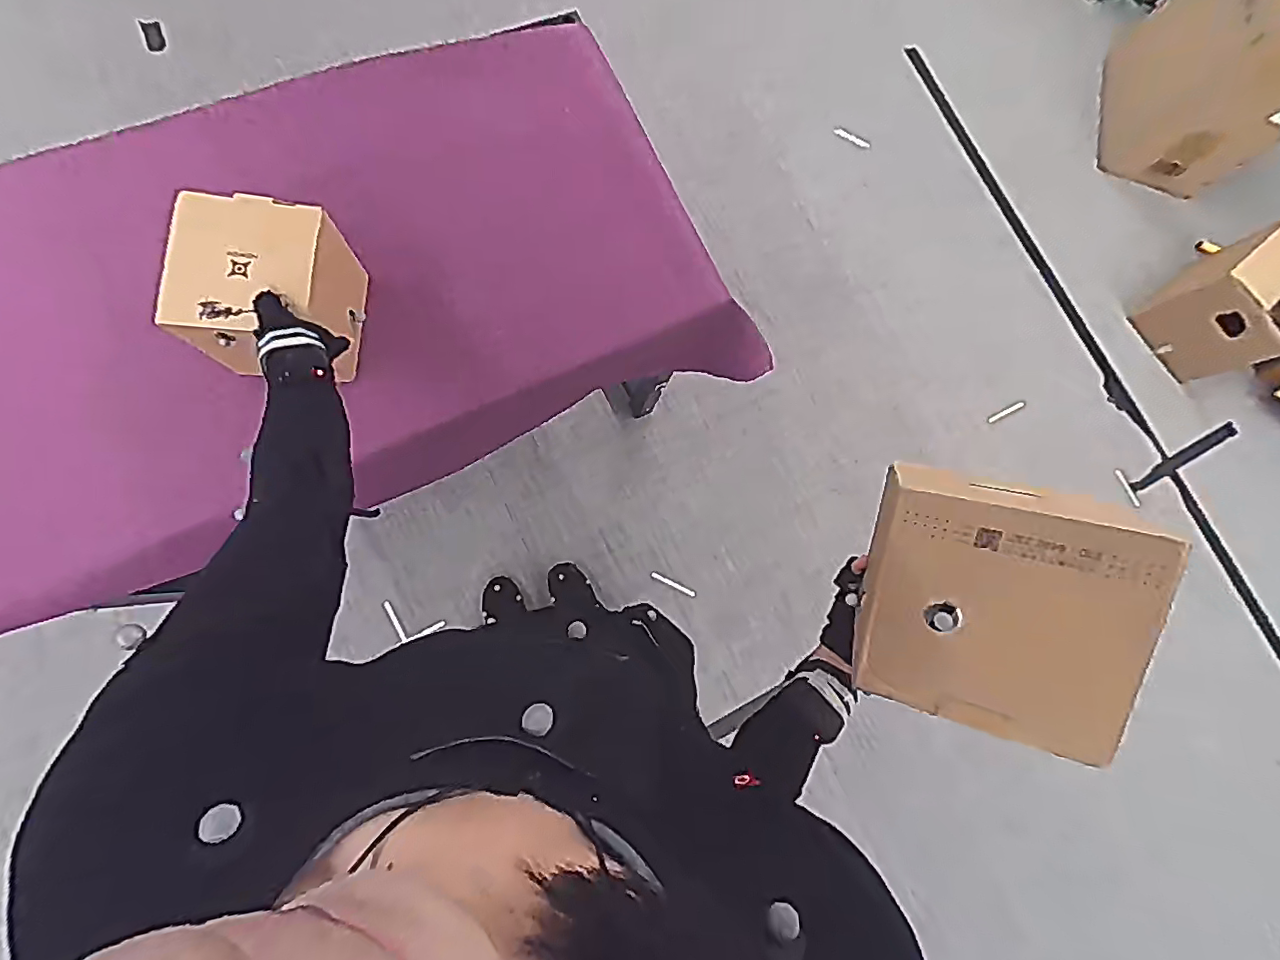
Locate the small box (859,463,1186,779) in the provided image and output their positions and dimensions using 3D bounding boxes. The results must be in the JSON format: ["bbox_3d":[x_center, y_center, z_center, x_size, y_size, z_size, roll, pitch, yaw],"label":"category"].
[{"bbox_3d":[0.281,0.087,0.437,0.168,0.179,0.176,14,104,21],"label":"small box"}]

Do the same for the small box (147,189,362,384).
[{"bbox_3d":[-0.491,-0.245,0.722,0.168,0.176,0.179,3,79,-8],"label":"small box"}]
